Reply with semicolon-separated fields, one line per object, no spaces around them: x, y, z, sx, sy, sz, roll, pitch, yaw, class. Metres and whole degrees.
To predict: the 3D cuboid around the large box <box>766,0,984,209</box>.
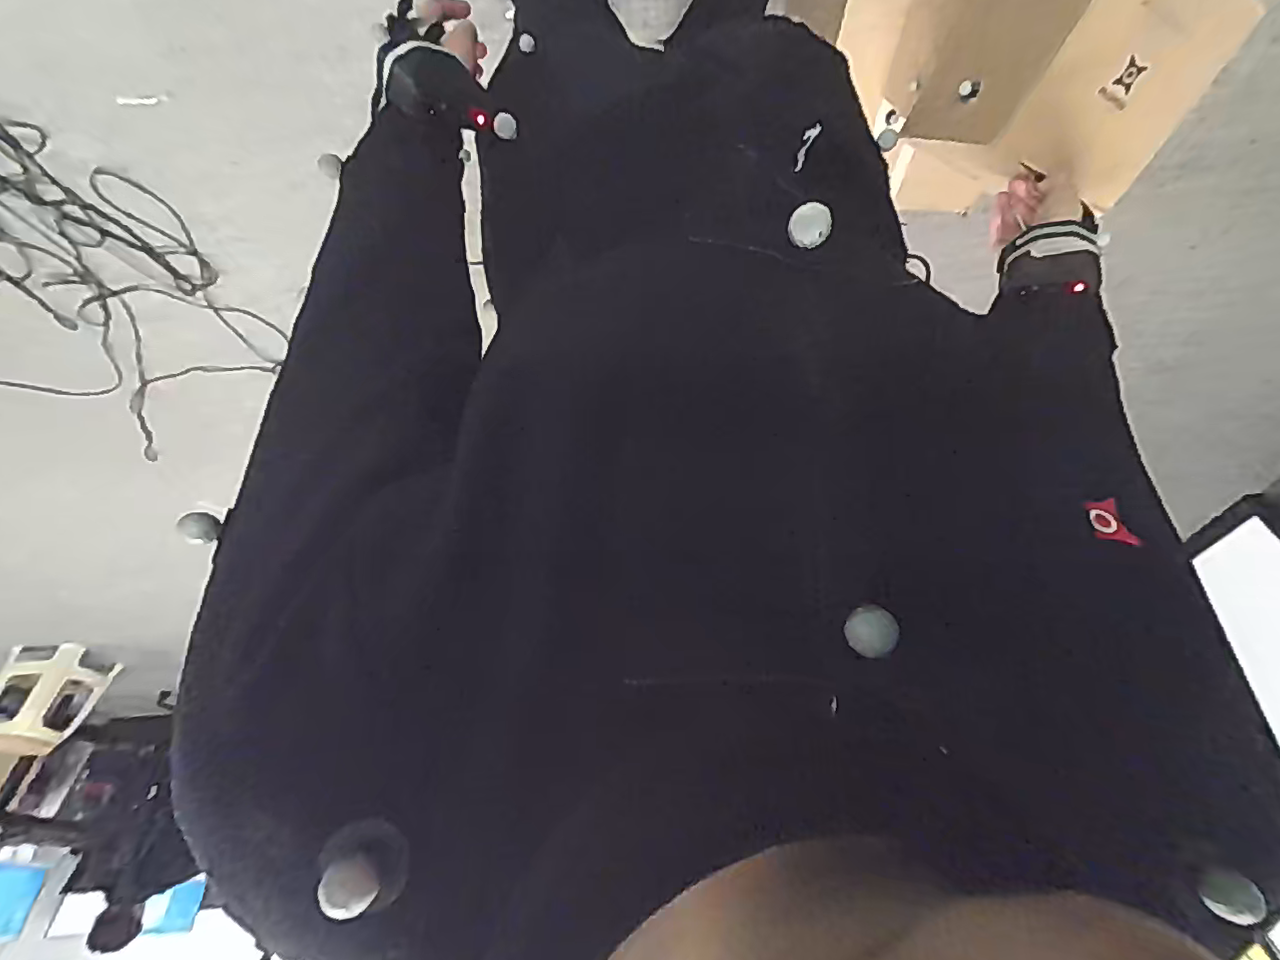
0.412;-0.699;0.845;0.320;0.320;0.408;1;142;-2;large box

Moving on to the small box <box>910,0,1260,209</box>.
0.406;-0.399;0.534;0.168;0.176;0.179;14;119;-20;small box
